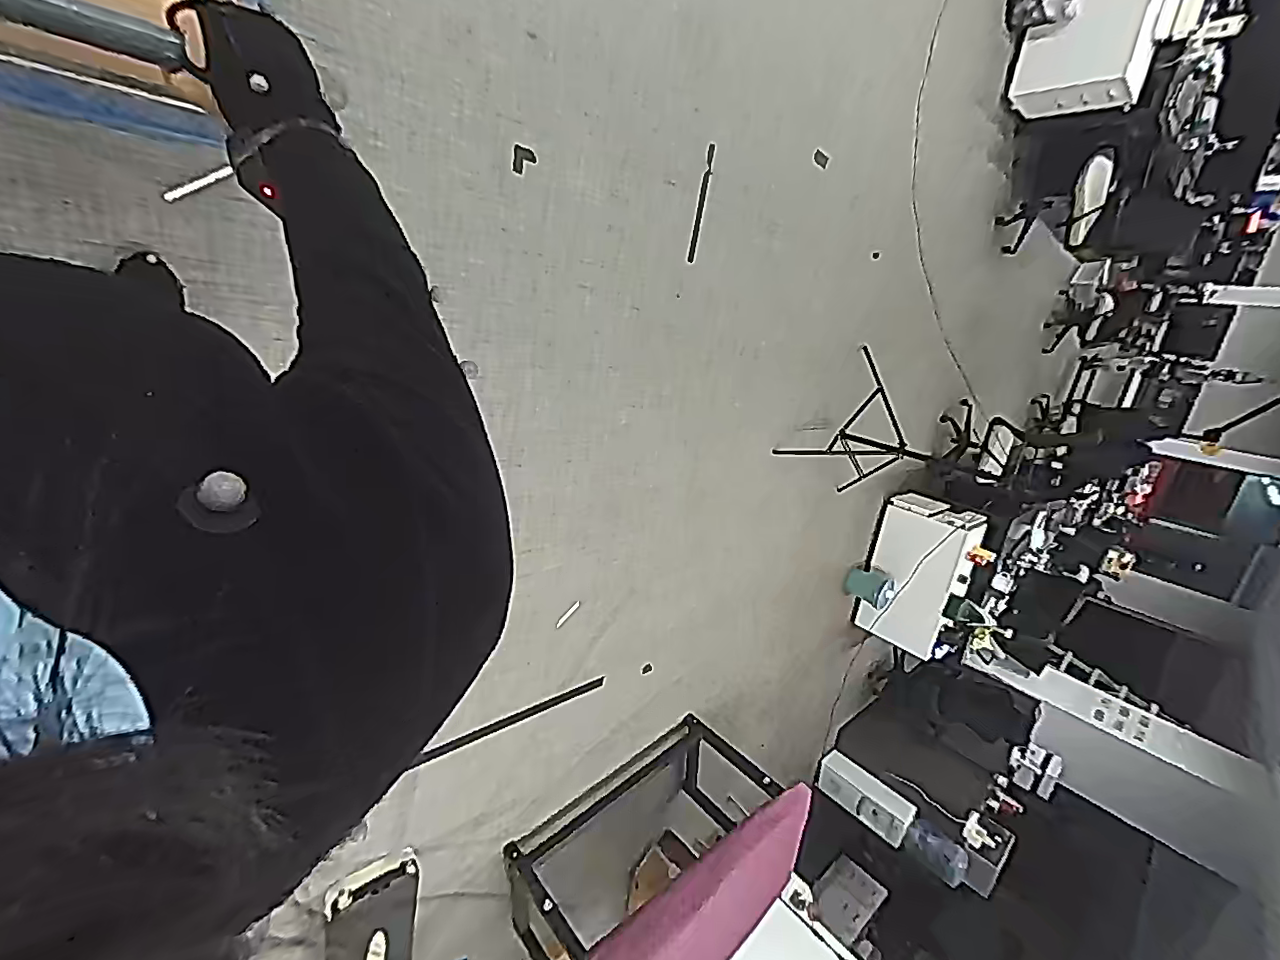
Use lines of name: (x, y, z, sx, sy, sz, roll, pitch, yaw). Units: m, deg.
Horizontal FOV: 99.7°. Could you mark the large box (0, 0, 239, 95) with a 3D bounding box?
large box: (-0.783, -0.739, 0.666, 0.408, 0.320, 0.320, -10, 116, -42)
